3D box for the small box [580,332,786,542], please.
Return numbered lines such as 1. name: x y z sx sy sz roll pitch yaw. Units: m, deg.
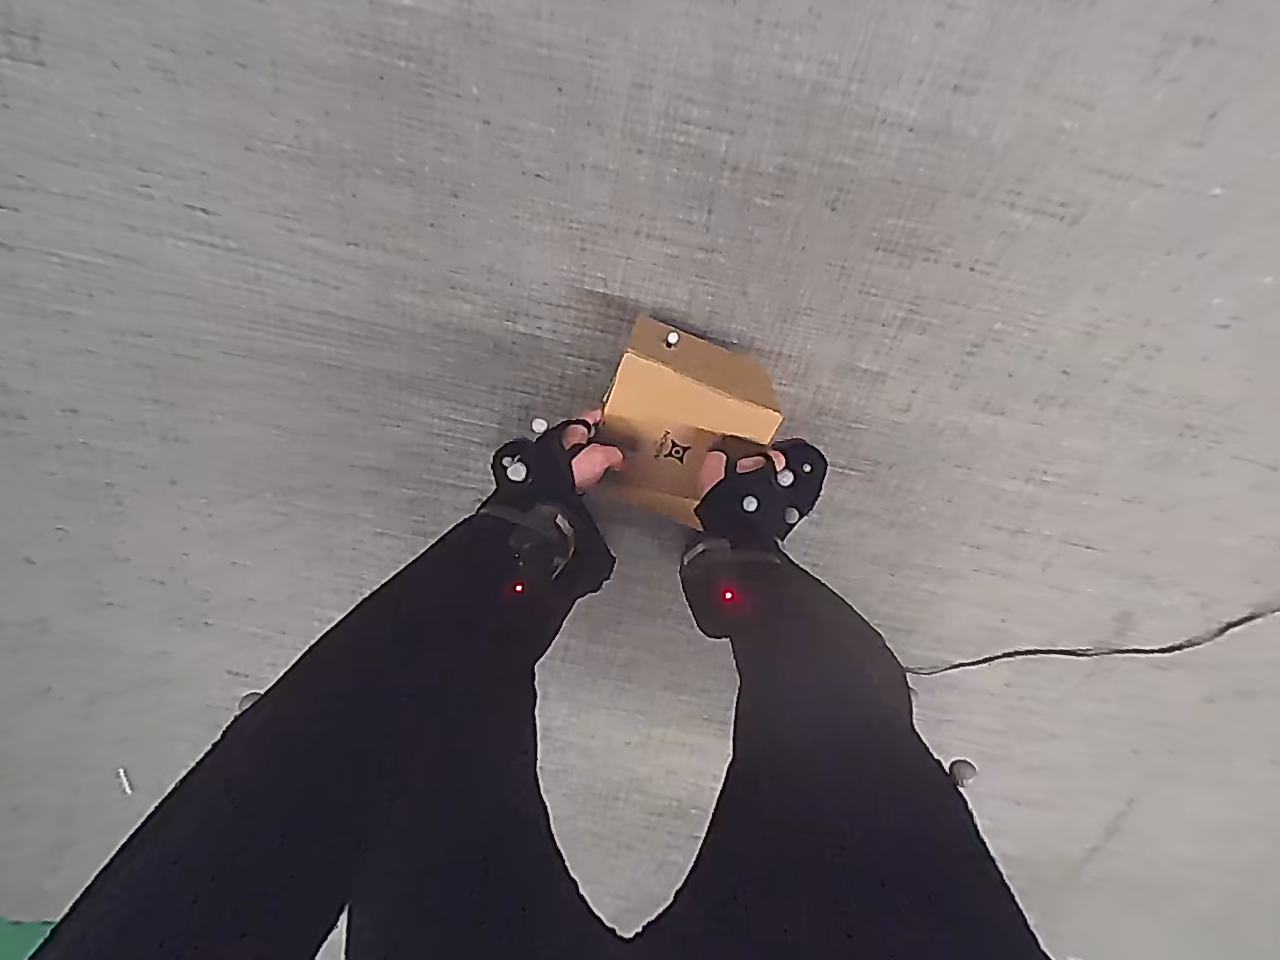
1. small box: 0.047 -0.061 0.648 0.179 0.176 0.168 21 120 -7
